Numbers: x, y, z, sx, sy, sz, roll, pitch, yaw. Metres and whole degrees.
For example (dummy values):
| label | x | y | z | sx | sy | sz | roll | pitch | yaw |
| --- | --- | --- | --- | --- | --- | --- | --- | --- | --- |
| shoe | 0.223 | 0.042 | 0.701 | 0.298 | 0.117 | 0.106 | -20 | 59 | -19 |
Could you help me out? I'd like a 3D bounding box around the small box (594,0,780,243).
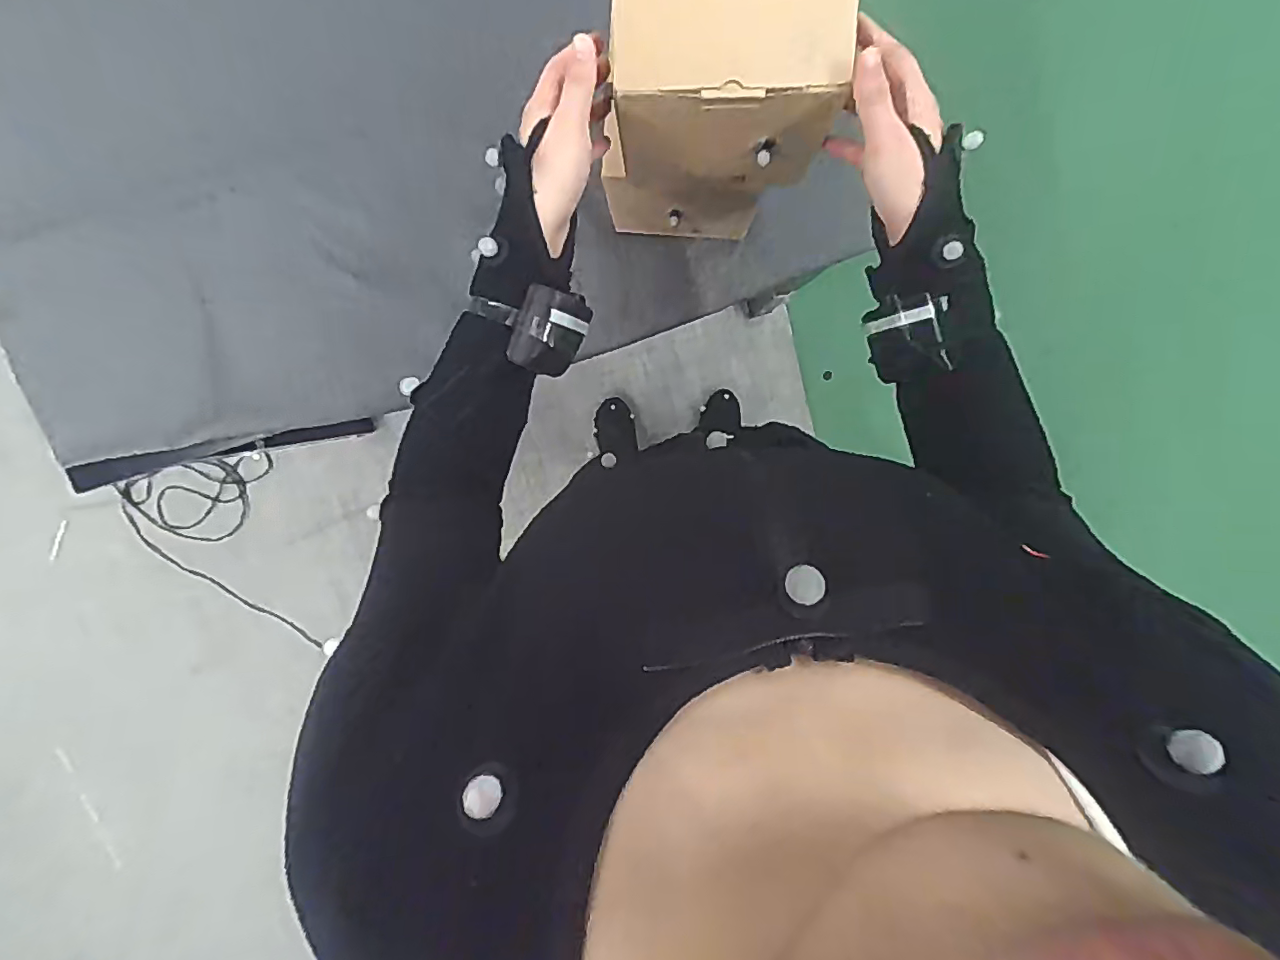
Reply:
| label | x | y | z | sx | sy | sz | roll | pitch | yaw |
| --- | --- | --- | --- | --- | --- | --- | --- | --- | --- |
| small box | 0.047 | -0.376 | 0.595 | 0.168 | 0.176 | 0.179 | 5 | 97 | 2 |
